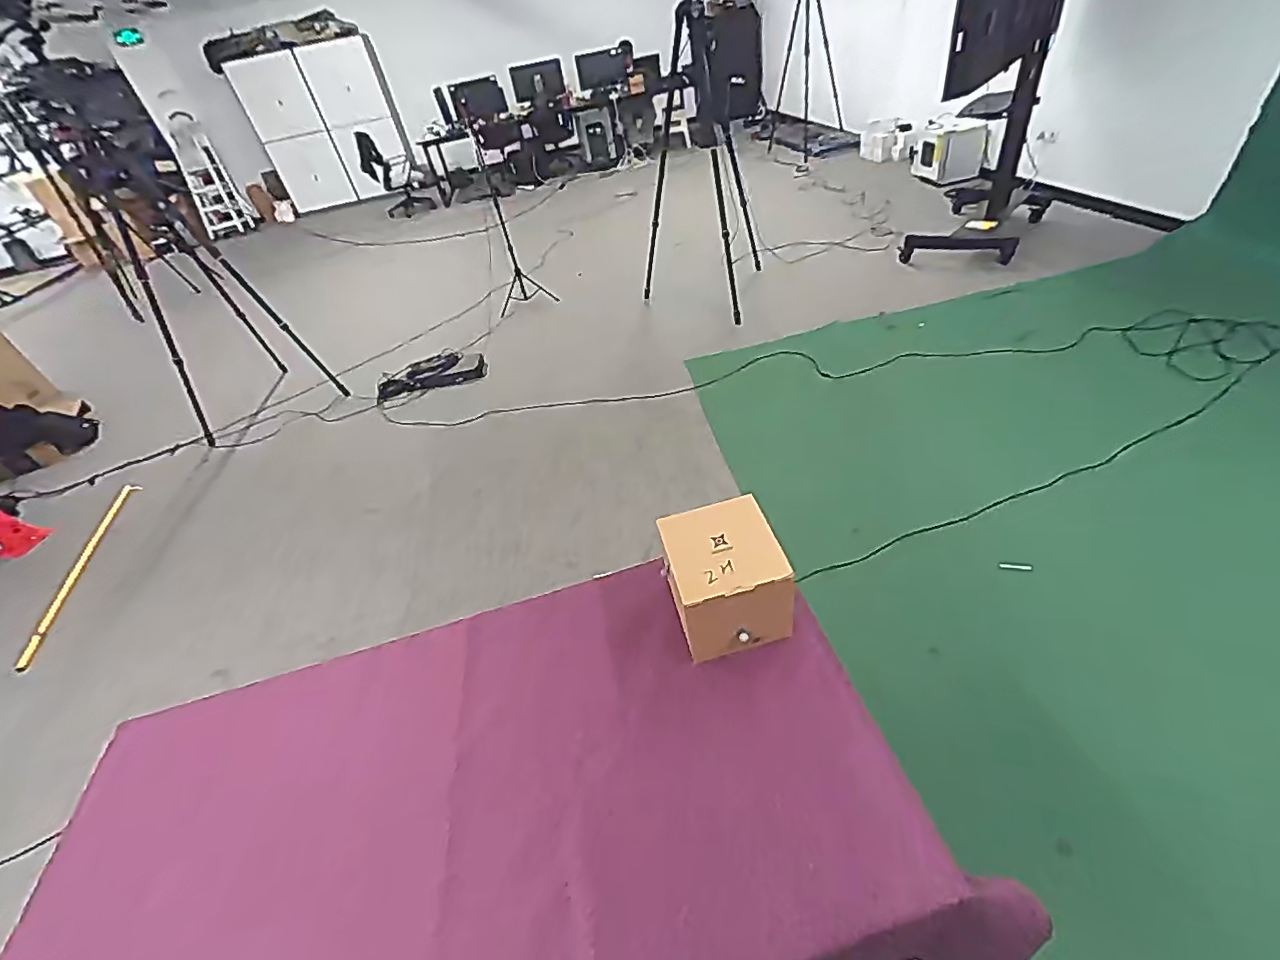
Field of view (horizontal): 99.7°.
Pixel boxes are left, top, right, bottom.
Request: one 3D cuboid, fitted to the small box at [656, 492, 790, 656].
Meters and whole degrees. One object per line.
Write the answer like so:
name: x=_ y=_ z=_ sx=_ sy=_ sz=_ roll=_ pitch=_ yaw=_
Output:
small box: x=0.132 y=0.153 z=0.878 sx=0.168 sy=0.176 sz=0.179 roll=-16 pitch=44 yaw=-1
